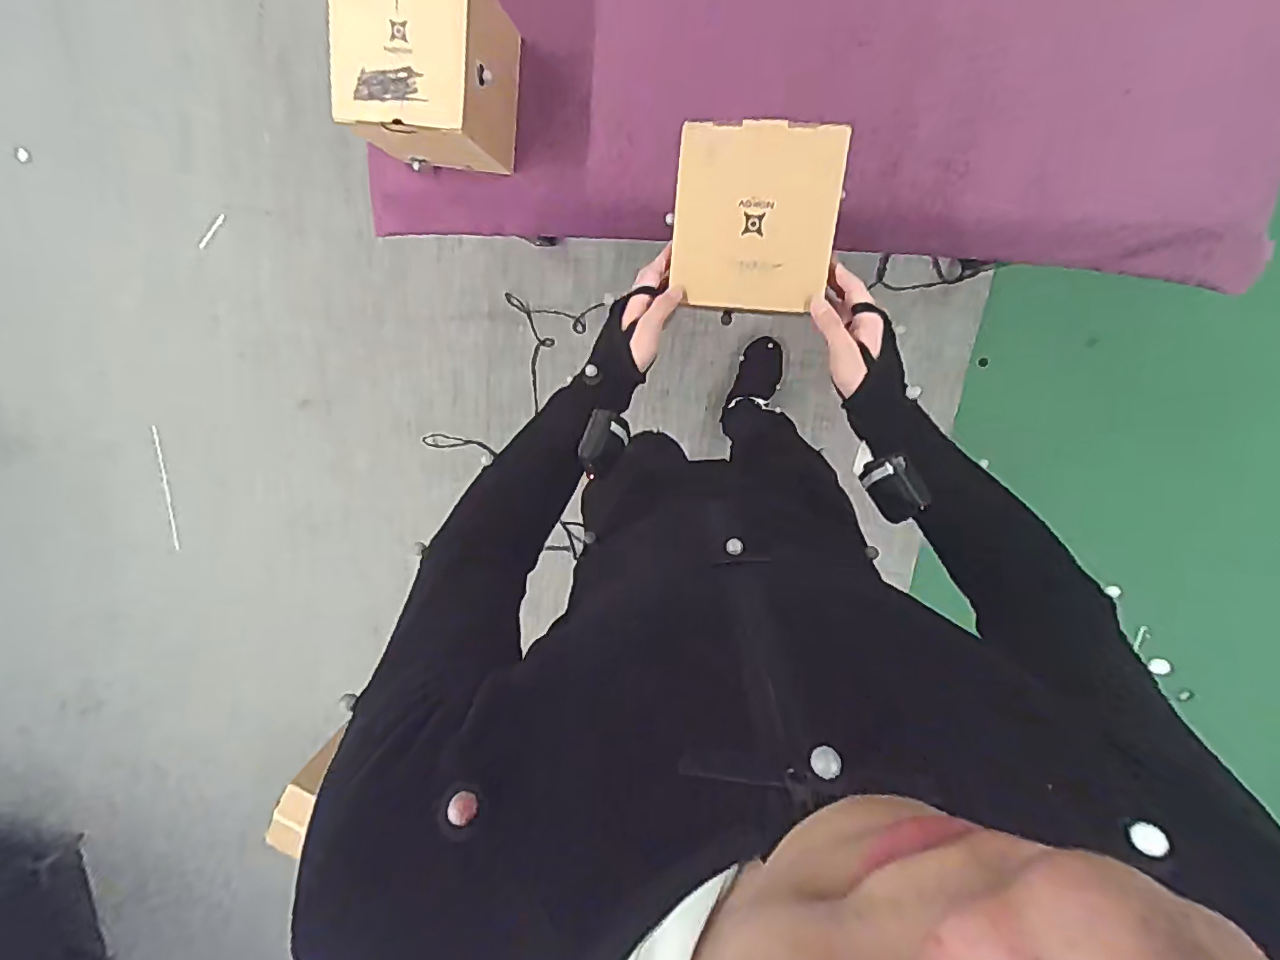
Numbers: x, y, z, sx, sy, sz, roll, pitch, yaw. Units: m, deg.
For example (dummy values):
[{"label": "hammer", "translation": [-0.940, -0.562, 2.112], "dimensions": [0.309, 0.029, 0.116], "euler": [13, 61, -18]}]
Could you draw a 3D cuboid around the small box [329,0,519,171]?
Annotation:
[{"label": "small box", "translation": [-0.261, -0.514, 0.685], "dimensions": [0.168, 0.176, 0.179], "euler": [9, 105, 5]}]

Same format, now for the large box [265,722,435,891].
[{"label": "large box", "translation": [-1.044, 1.175, 1.976], "dimensions": [0.408, 0.320, 0.320], "euler": [29, 108, -2]}]

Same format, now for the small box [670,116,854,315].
[{"label": "small box", "translation": [0.131, -0.290, 0.627], "dimensions": [0.168, 0.176, 0.179], "euler": [7, 107, 8]}]
